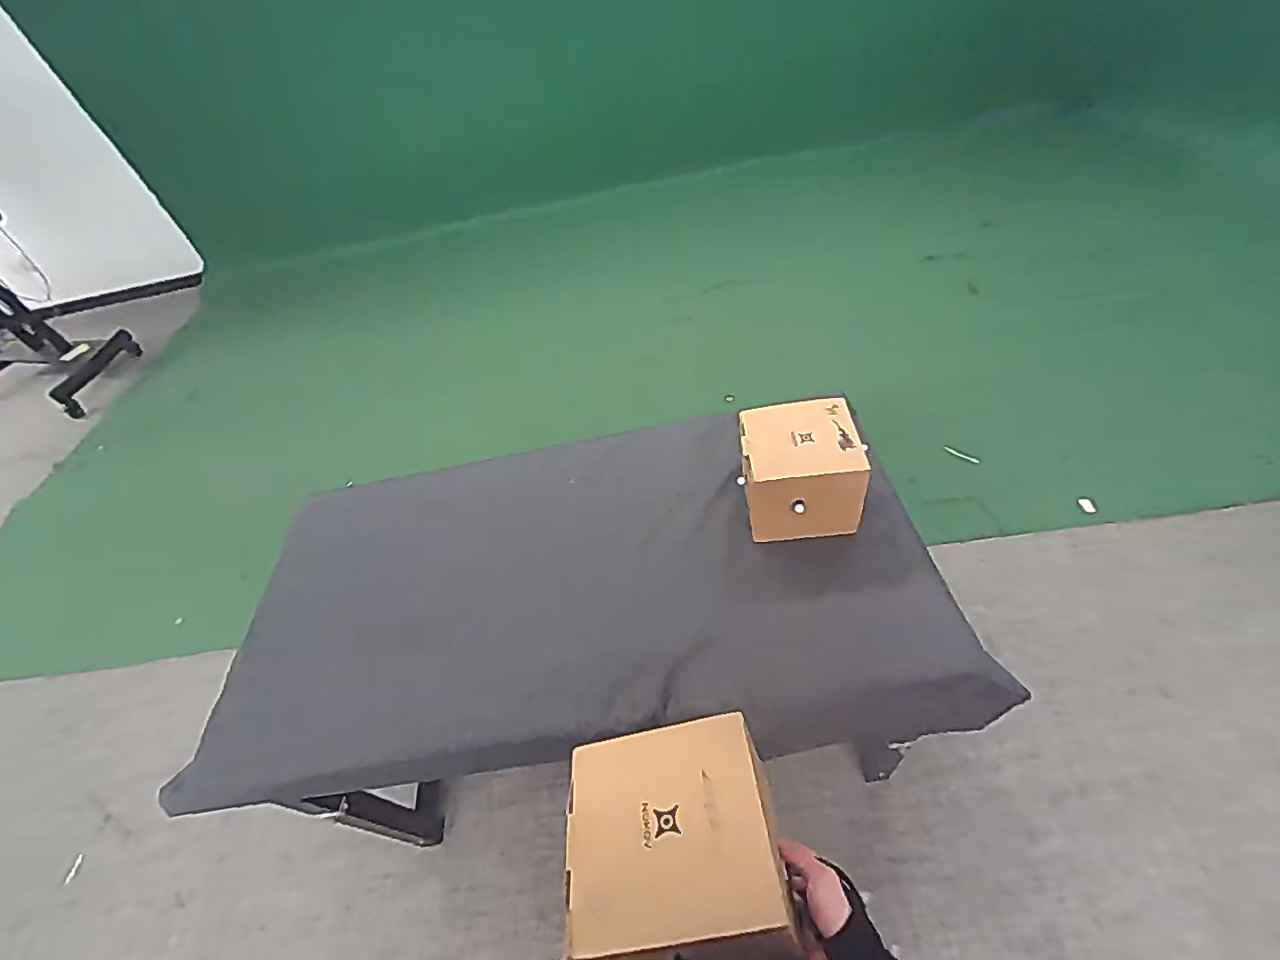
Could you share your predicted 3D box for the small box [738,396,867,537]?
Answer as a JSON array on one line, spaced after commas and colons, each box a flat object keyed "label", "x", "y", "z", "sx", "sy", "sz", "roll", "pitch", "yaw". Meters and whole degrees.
[{"label": "small box", "x": 0.269, "y": -0.016, "z": 0.922, "sx": 0.179, "sy": 0.176, "sz": 0.168, "roll": -7, "pitch": 50, "yaw": 8}]

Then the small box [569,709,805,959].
[{"label": "small box", "x": 0.045, "y": 0.352, "z": 0.518, "sx": 0.179, "sy": 0.176, "sz": 0.168, "roll": -15, "pitch": 39, "yaw": 6}]
